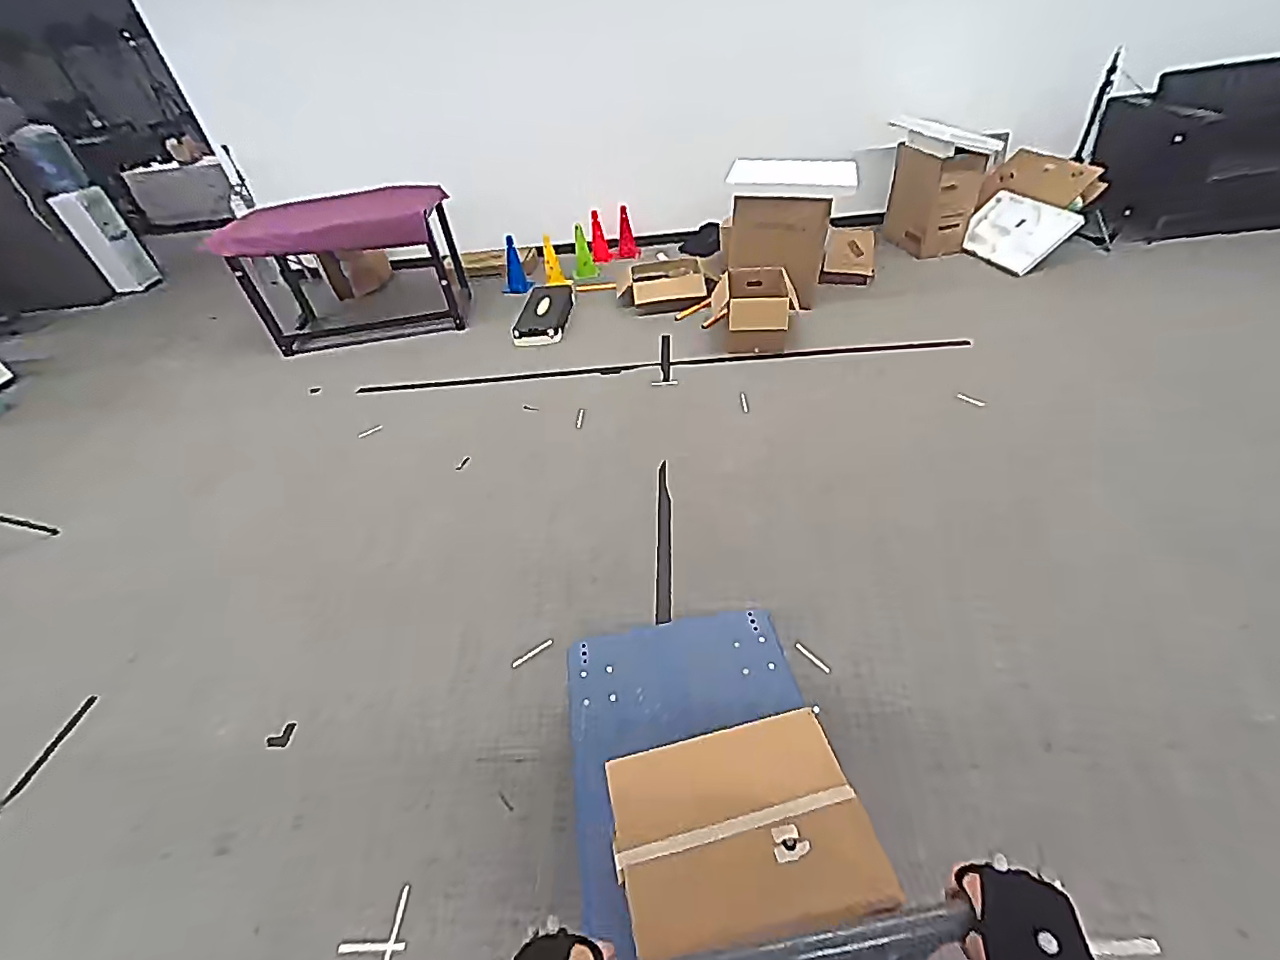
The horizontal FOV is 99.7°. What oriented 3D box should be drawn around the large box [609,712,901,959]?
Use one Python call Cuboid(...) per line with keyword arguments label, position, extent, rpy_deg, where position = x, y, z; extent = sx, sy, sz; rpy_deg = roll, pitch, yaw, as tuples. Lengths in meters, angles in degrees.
Cuboid(label="large box", position=(0.179, 0.694, 0.992), extent=(0.408, 0.320, 0.320), rpy_deg=(-12, 41, -7))
